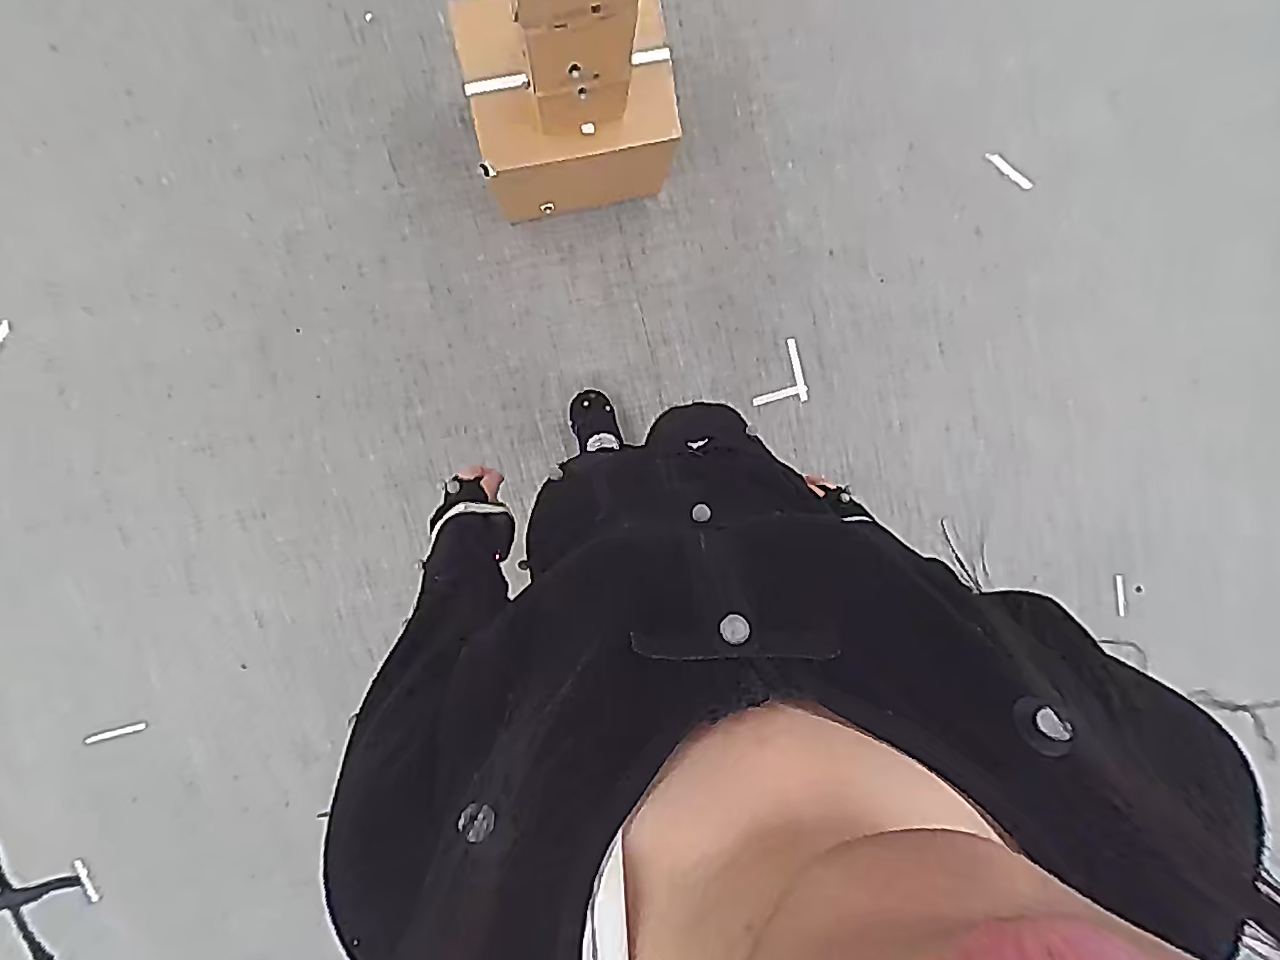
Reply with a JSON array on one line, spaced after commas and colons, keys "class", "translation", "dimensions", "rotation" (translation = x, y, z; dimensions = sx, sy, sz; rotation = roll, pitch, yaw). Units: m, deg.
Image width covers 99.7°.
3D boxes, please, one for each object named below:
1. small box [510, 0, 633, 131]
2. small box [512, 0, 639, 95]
[{"class": "small box", "translation": [-0.122, -0.767, 0.978], "dimensions": [0.179, 0.176, 0.168], "rotation": [-16, 101, -5]}, {"class": "small box", "translation": [-0.107, -0.734, 0.820], "dimensions": [0.168, 0.176, 0.179], "rotation": [-15, 101, -4]}]
